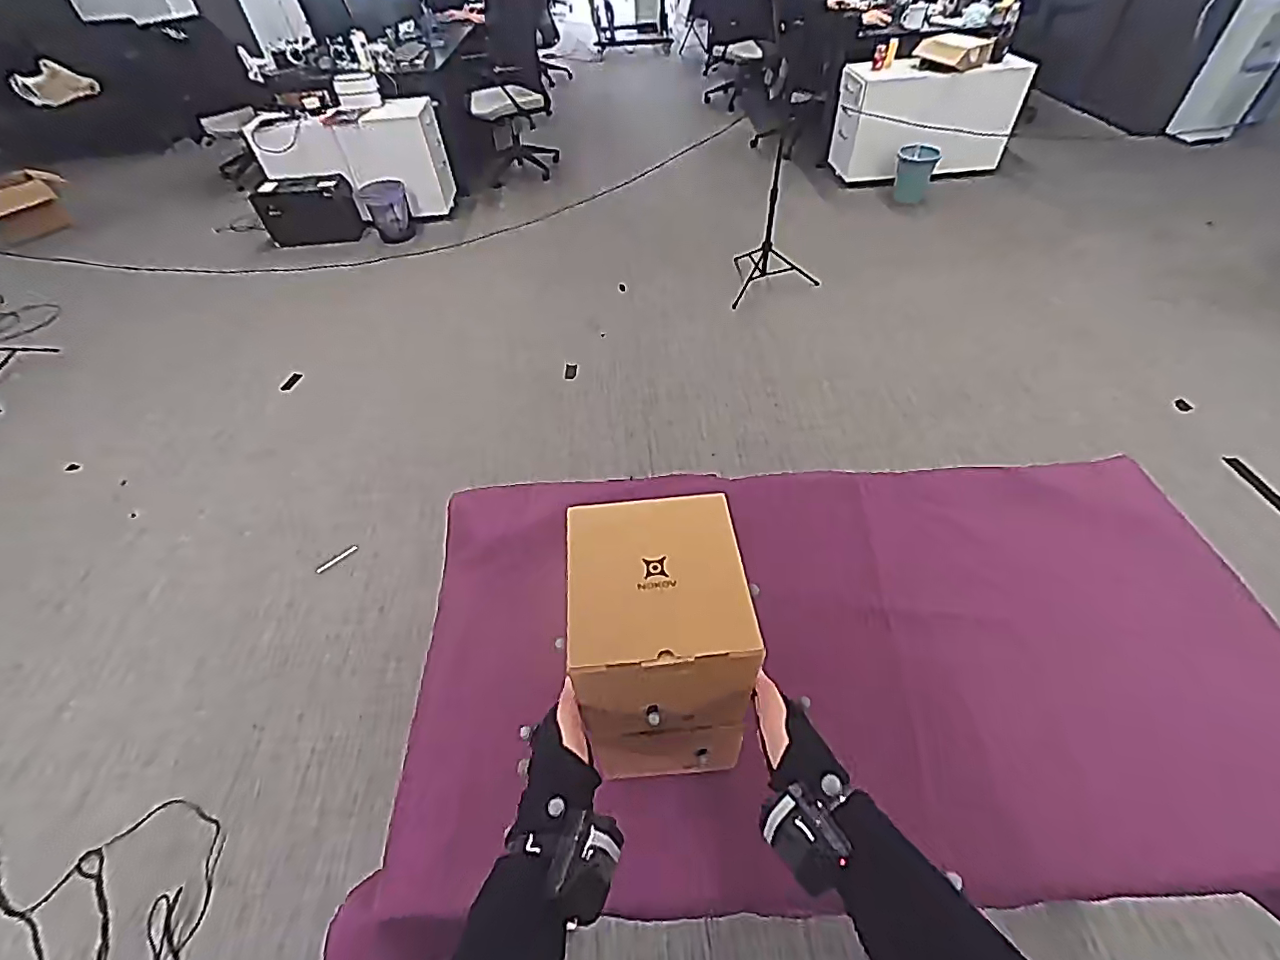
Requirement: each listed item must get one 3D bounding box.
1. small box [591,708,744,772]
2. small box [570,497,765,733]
[{"bbox_3d":[0.030,0.253,0.678,0.168,0.176,0.179,-4,48,-1],"label":"small box"},{"bbox_3d":[0.018,0.140,0.562,0.168,0.176,0.179,-5,49,-2],"label":"small box"}]
